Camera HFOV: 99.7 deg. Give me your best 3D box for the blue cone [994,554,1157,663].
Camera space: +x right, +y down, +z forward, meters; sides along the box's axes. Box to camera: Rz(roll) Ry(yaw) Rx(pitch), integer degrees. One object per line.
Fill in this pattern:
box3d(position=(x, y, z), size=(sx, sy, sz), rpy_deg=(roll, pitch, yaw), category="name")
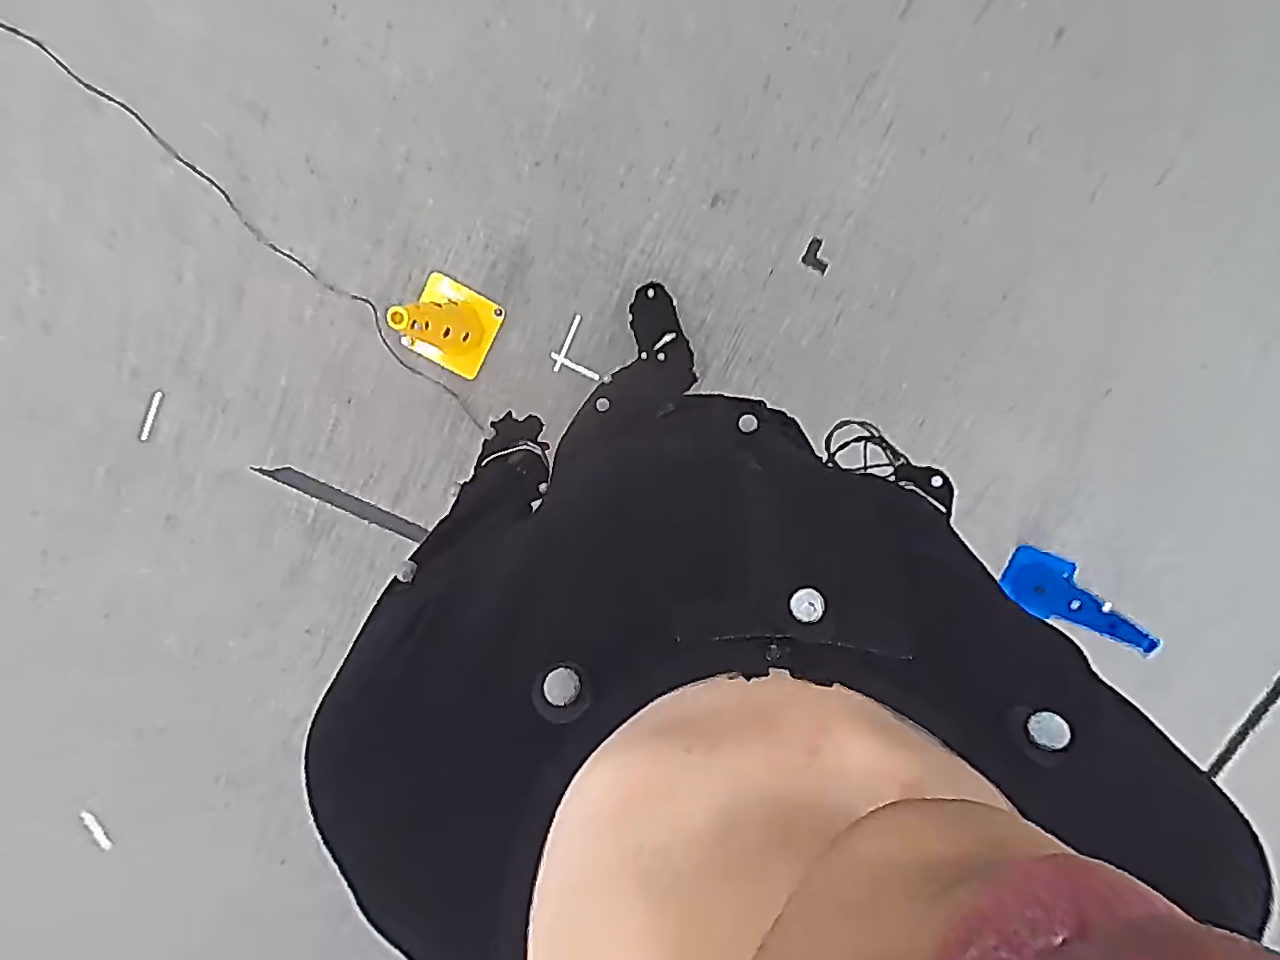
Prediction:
box3d(position=(1.150, 0.350, 1.405), size=(0.193, 0.380, 0.192), rpy_deg=(21, 101, -7), category="blue cone")
